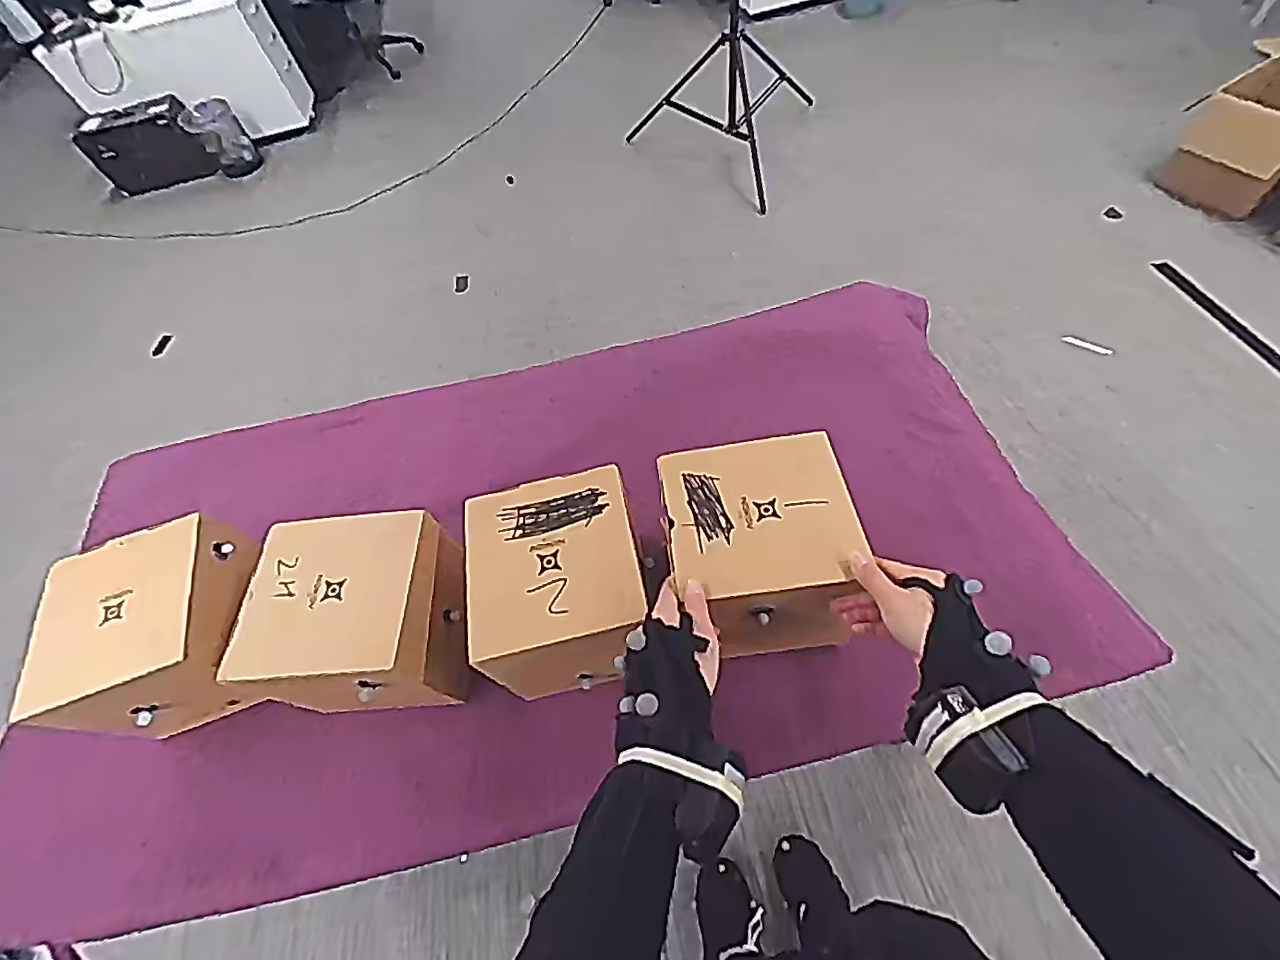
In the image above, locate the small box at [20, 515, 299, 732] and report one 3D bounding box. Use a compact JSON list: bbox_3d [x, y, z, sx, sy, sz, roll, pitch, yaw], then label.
[{"bbox_3d":[-0.526,0.175,0.625,0.168,0.176,0.179,-21,58,-4],"label":"small box"}]
